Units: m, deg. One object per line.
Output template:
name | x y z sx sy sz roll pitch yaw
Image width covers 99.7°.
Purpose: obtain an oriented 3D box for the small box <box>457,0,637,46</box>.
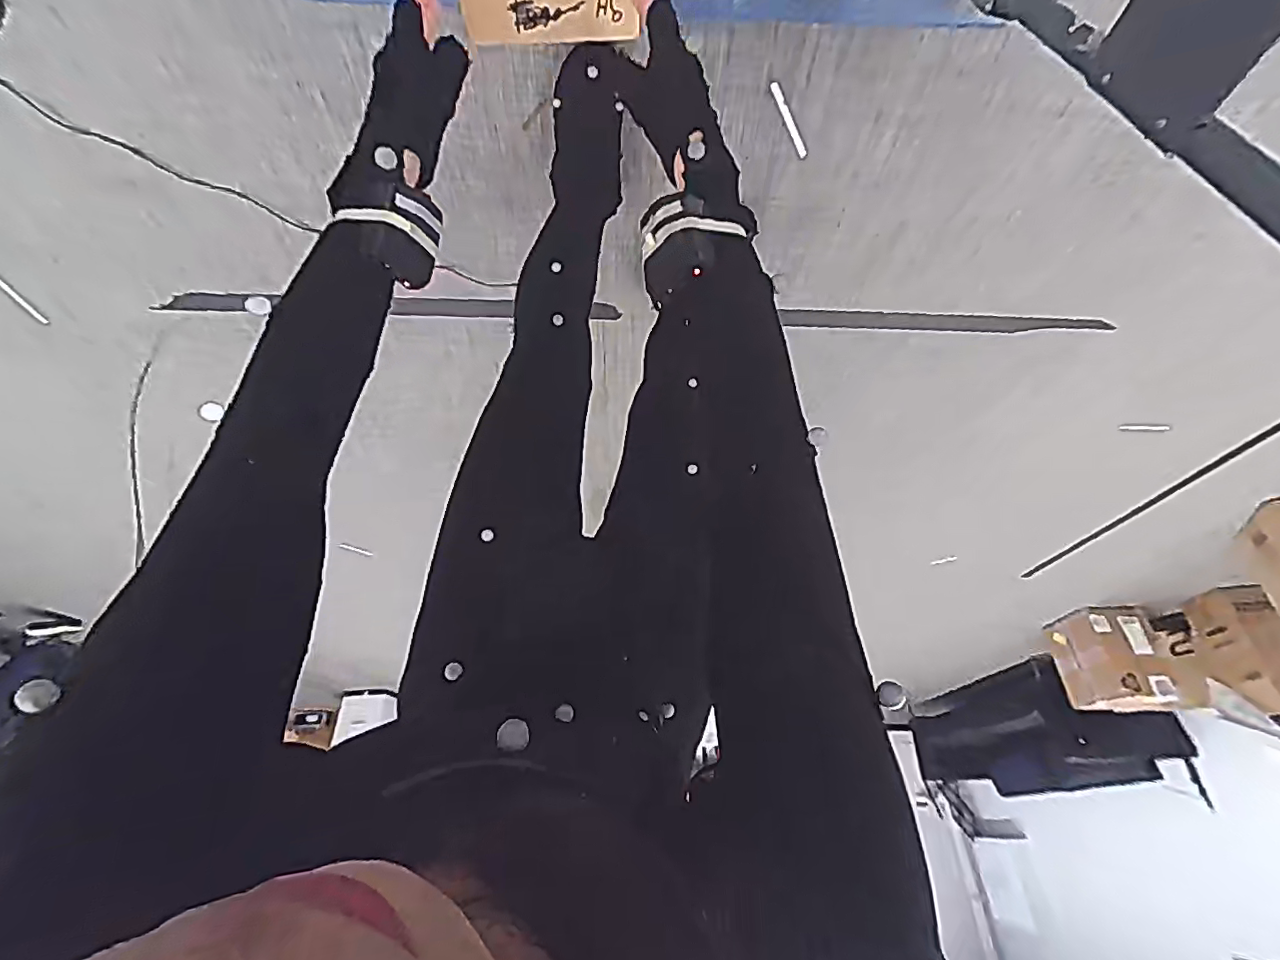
small box | -0.089 -0.536 0.495 0.168 0.176 0.179 -2 147 0
